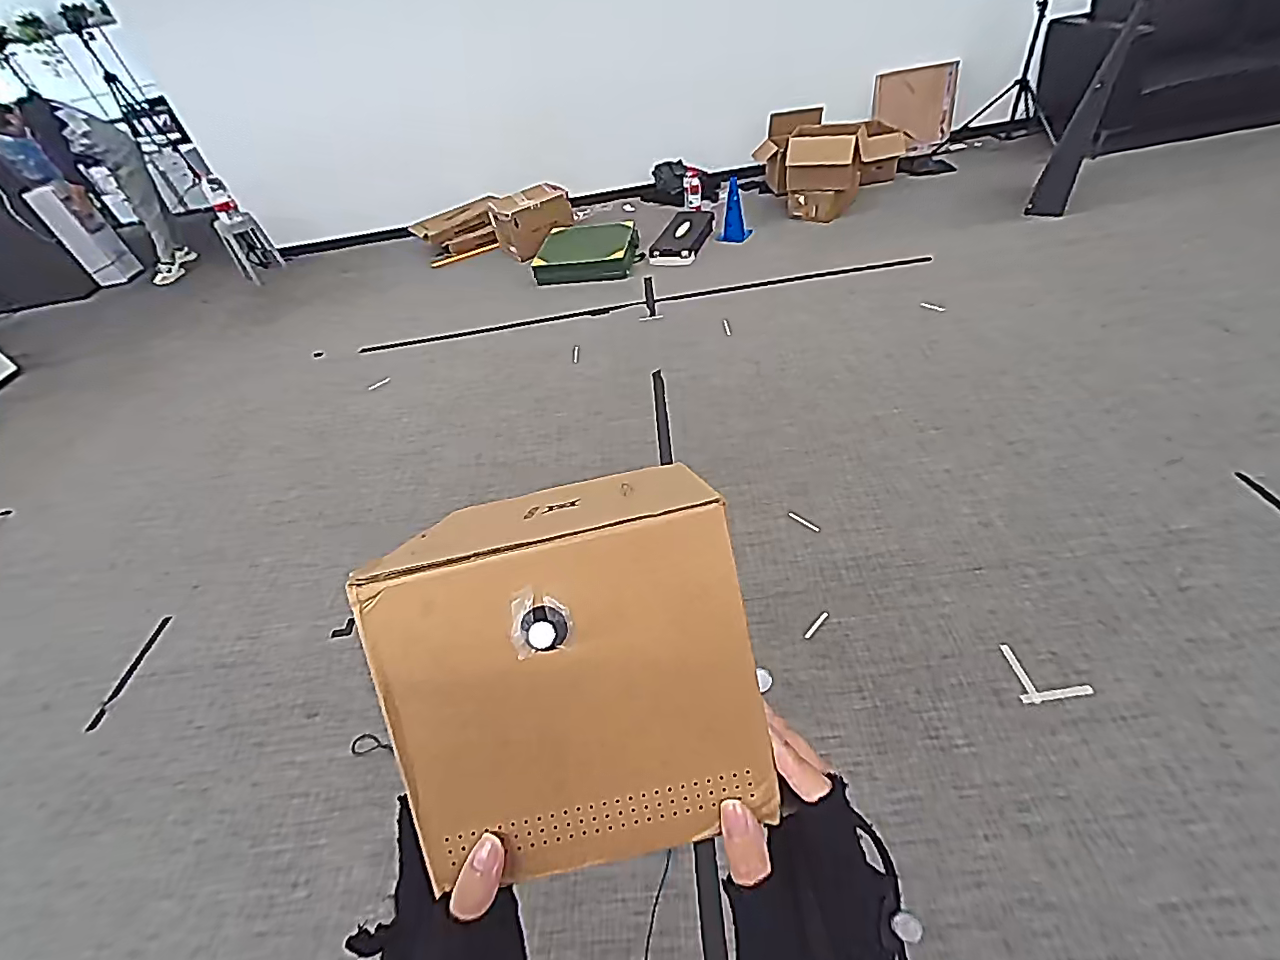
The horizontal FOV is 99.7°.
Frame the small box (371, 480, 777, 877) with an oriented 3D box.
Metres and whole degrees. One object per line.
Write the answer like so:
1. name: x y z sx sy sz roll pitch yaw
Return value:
1. small box: -0.030 0.108 0.345 0.179 0.176 0.168 -12 7 0
